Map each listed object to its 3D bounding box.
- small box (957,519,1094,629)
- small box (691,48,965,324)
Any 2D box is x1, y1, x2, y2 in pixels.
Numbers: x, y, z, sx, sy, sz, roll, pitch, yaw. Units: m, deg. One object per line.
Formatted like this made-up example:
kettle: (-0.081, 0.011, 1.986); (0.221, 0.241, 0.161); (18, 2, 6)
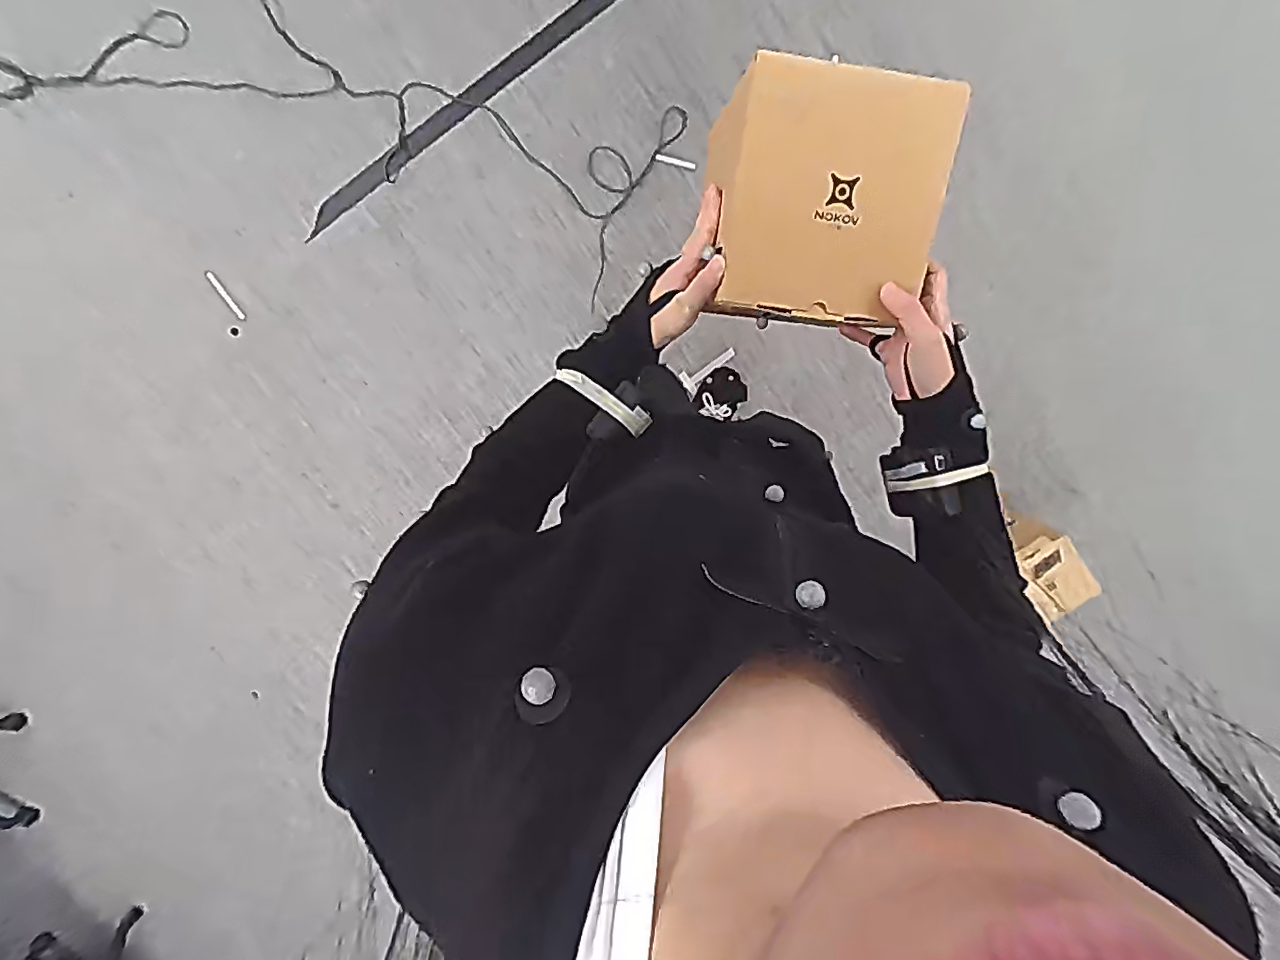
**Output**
small box: (0.904, 0.211, 1.287); (0.168, 0.176, 0.179); (-37, 100, 9)
small box: (0.147, -0.242, 0.493); (0.168, 0.176, 0.179); (5, 107, -5)
